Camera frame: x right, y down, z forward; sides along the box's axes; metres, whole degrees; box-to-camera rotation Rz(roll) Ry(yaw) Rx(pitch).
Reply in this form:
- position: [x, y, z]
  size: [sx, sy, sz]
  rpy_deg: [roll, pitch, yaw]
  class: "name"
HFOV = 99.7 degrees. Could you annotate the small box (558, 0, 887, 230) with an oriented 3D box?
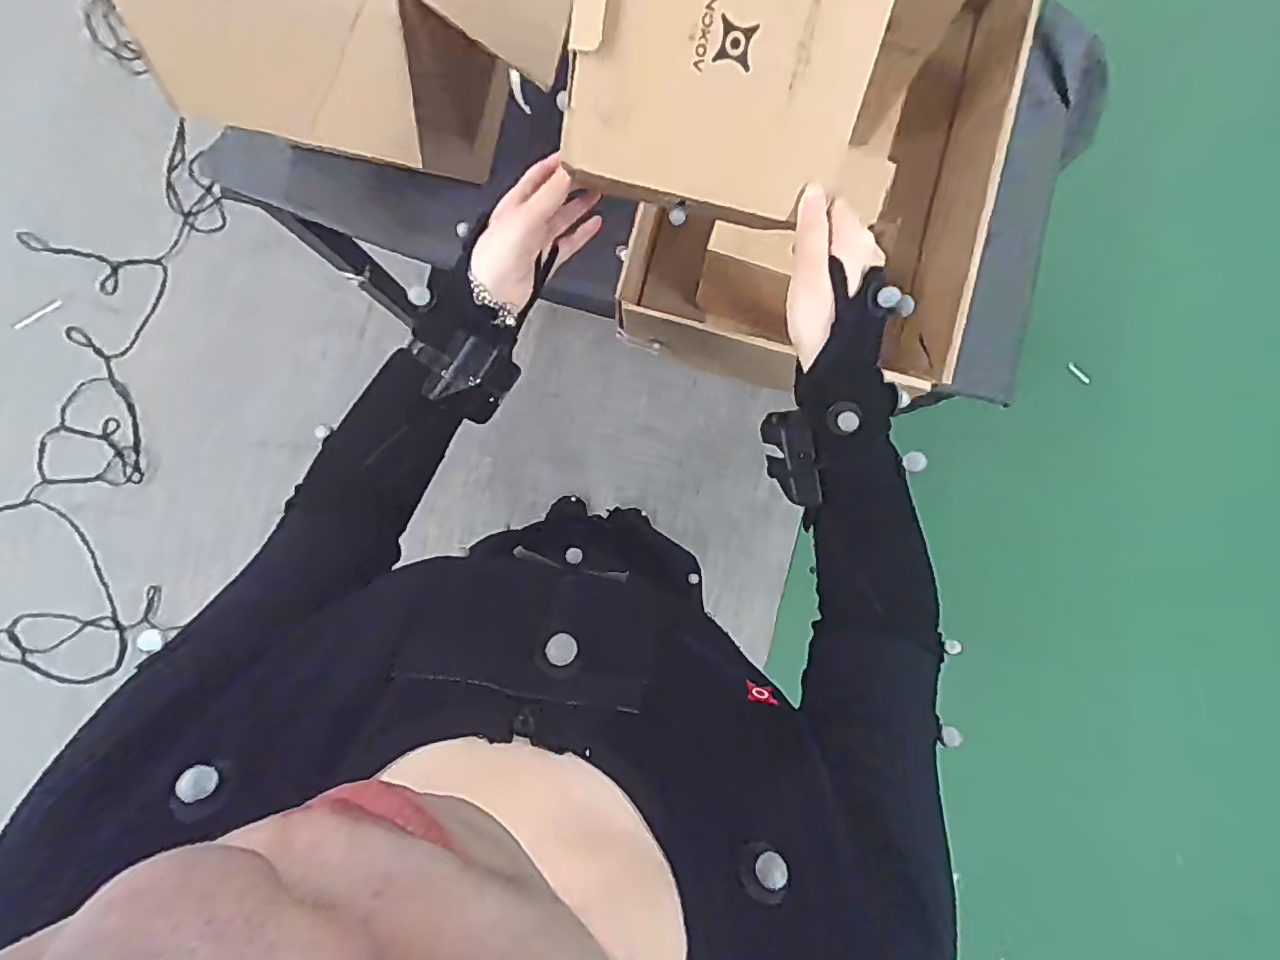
- position: [0.045, -0.286, 0.387]
  size: [0.179, 0.176, 0.168]
  rpy_deg: [9, 116, -8]
  class: "small box"
